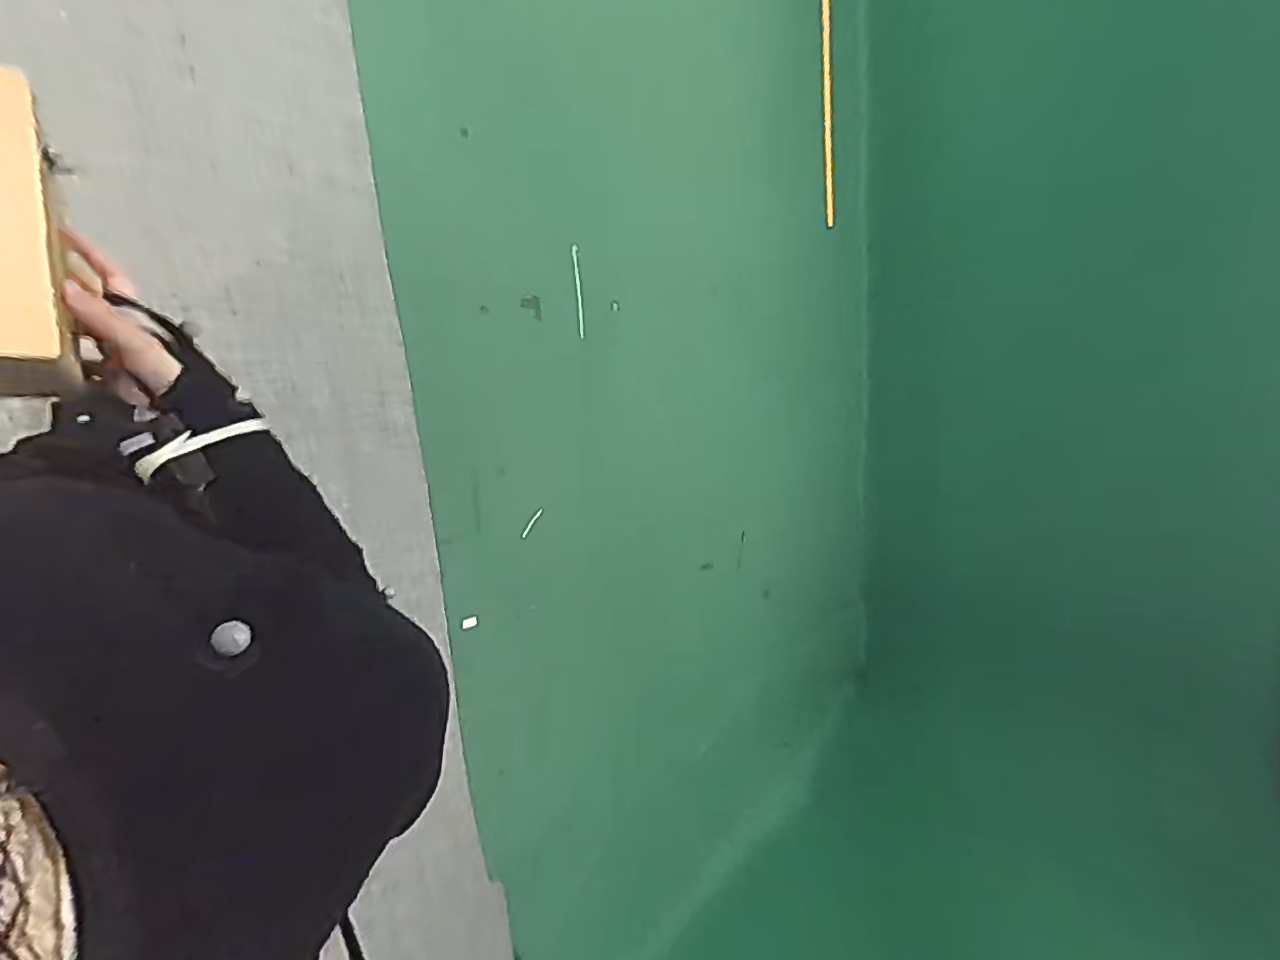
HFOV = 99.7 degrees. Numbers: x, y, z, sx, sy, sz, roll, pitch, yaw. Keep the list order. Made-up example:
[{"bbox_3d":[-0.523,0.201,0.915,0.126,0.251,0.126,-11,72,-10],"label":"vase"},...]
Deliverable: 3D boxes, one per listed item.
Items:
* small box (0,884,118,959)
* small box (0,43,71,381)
[{"bbox_3d":[-1.124,0.930,1.039,0.168,0.176,0.179,-6,99,-46],"label":"small box"},{"bbox_3d":[-0.475,-0.160,0.325,0.168,0.176,0.179,-6,91,-43],"label":"small box"}]
